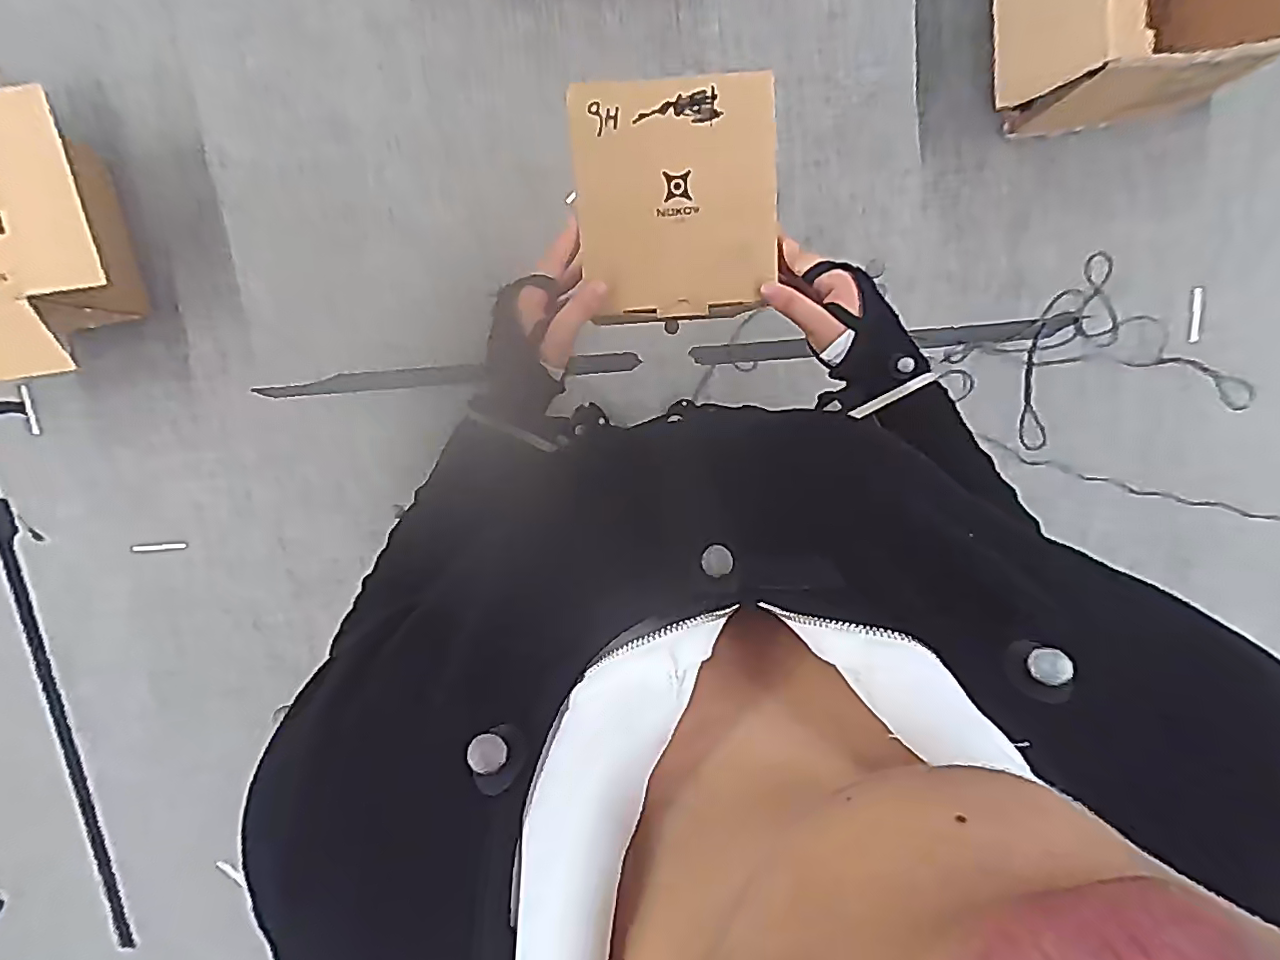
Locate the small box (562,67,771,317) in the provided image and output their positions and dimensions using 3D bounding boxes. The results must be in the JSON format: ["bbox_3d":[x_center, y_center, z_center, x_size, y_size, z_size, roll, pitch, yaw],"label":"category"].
[{"bbox_3d":[0.023,-0.251,0.516,0.168,0.176,0.179,-5,104,-2],"label":"small box"}]
